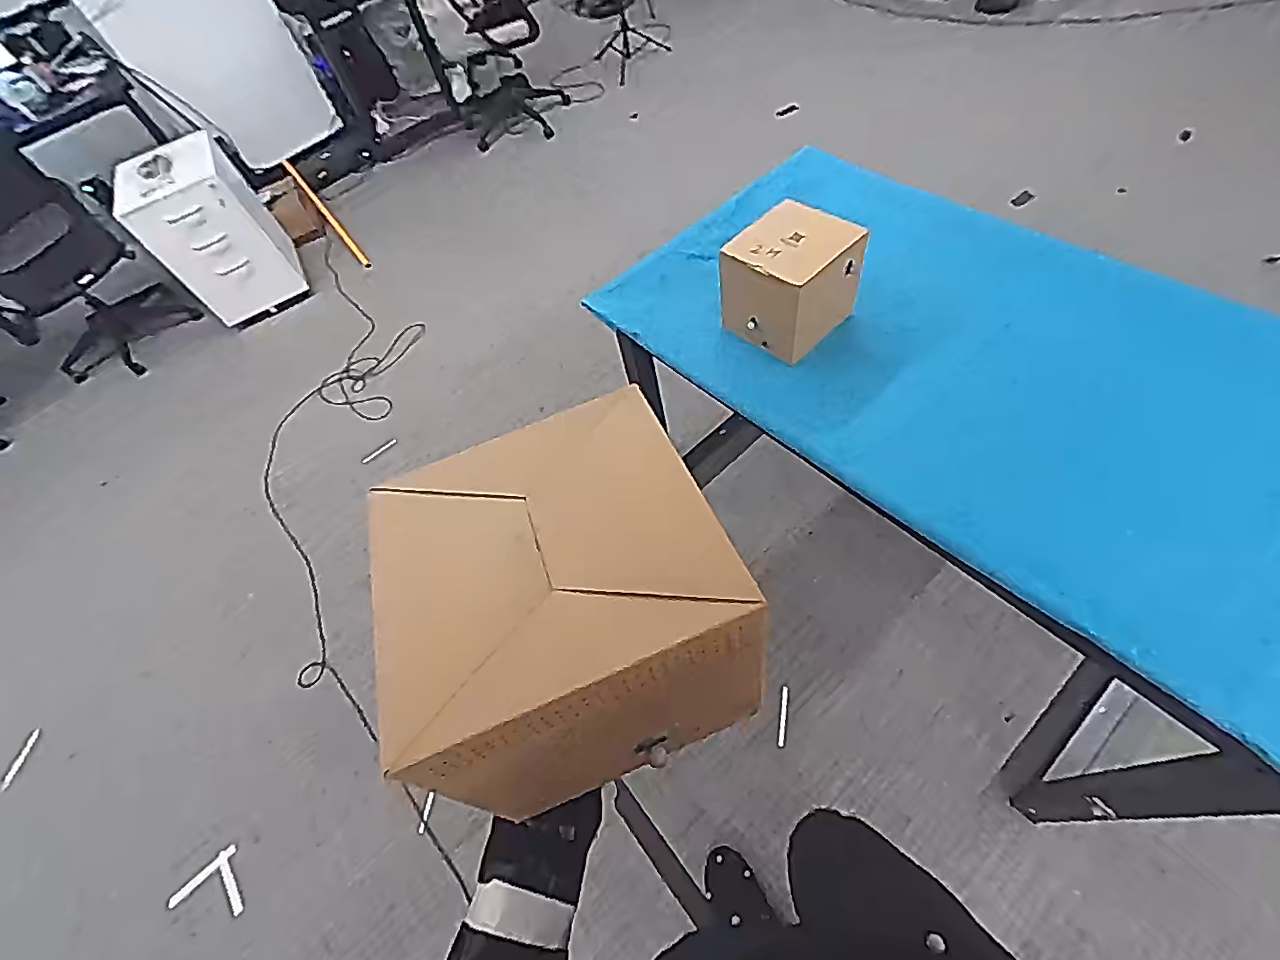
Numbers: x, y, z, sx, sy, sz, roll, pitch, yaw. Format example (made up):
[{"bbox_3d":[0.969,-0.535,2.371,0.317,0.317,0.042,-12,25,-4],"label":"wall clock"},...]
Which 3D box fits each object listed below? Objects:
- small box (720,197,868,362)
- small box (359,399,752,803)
[{"bbox_3d":[0.258,-0.342,0.932,0.179,0.176,0.168,-39,58,-11],"label":"small box"},{"bbox_3d":[-0.044,0.075,0.344,0.179,0.176,0.168,-22,51,-5],"label":"small box"}]
